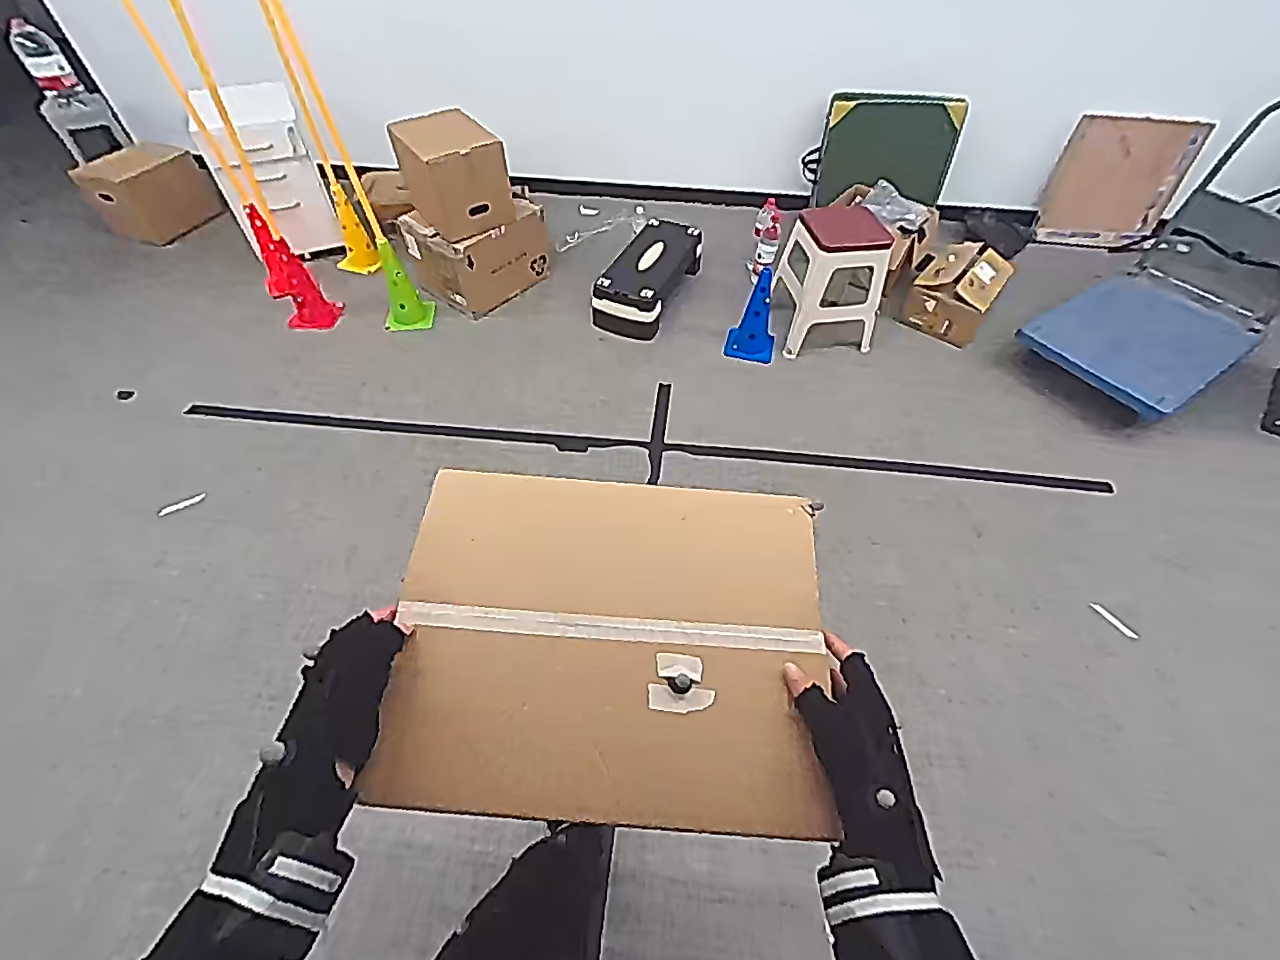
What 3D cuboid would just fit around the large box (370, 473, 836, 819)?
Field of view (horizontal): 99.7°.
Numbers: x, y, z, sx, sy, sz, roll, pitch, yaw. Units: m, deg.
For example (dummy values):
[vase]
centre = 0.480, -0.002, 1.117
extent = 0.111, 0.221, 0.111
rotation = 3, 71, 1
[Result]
[large box]
centre = -0.030, 0.211, 0.654
extent = 0.408, 0.320, 0.320
rotation = 5, 62, -1
